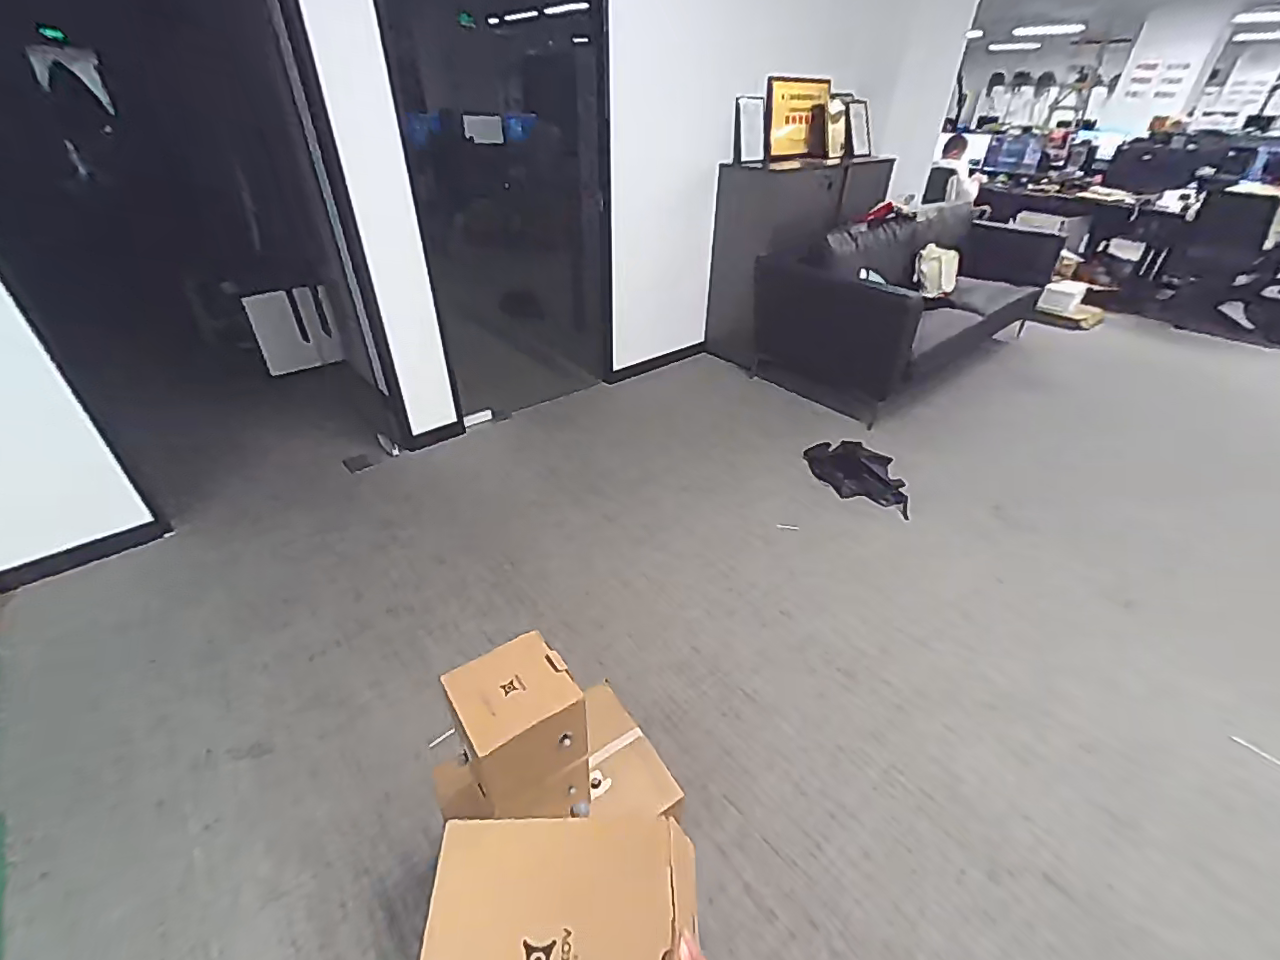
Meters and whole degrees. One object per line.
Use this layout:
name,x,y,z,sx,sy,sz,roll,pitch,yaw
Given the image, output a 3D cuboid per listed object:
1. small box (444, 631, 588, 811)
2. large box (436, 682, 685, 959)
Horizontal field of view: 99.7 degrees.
small box,-0.199,0.394,0.895,0.179,0.176,0.168,-23,40,-30
large box,-0.162,0.722,1.138,0.408,0.320,0.320,-19,40,-28
